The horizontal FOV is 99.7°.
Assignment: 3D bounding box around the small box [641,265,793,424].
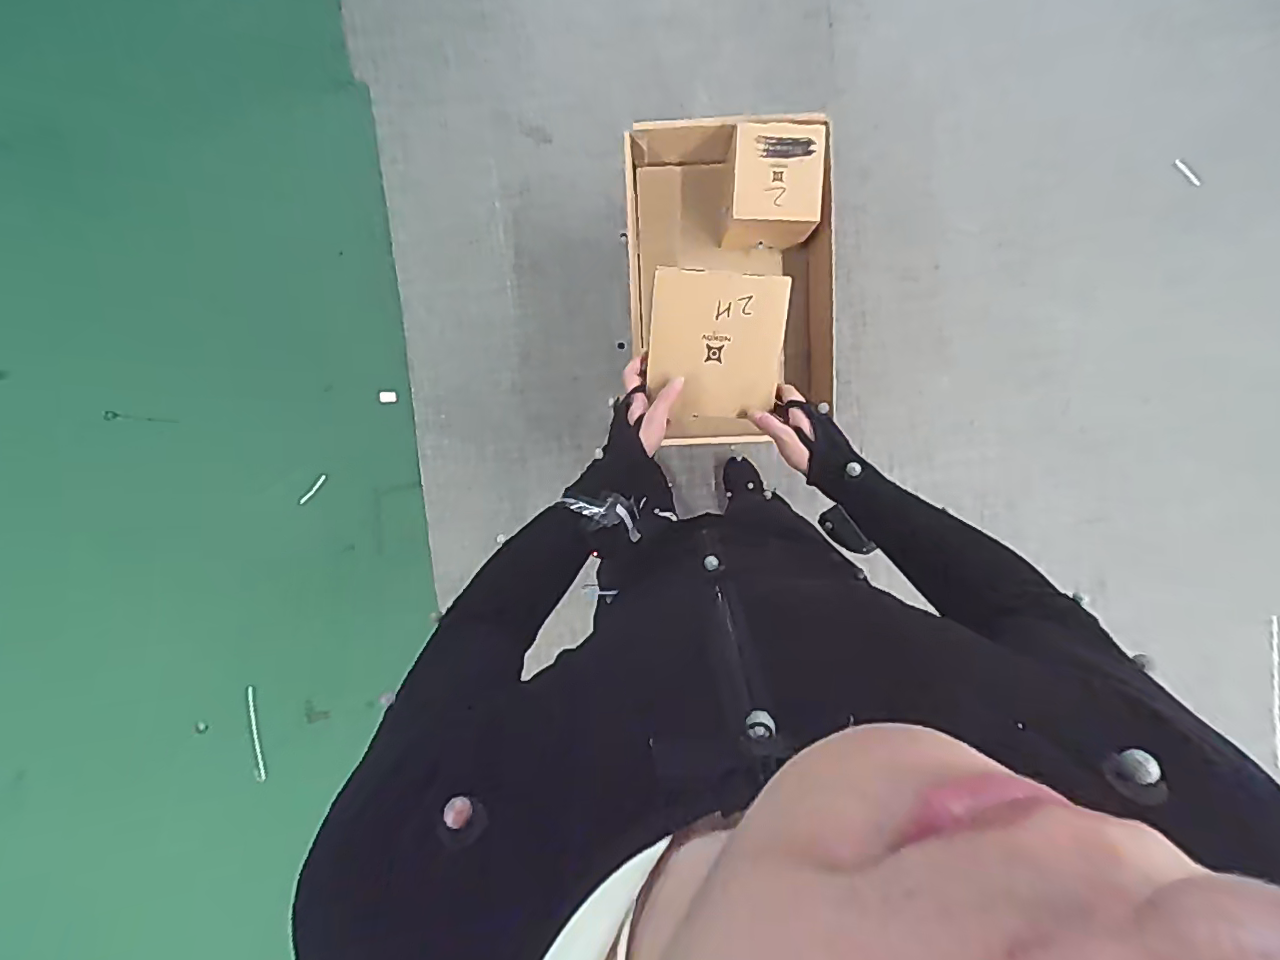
[{"bbox_3d":[0.092,-0.184,0.732,0.168,0.176,0.179,5,106,-2],"label":"small box"}]
